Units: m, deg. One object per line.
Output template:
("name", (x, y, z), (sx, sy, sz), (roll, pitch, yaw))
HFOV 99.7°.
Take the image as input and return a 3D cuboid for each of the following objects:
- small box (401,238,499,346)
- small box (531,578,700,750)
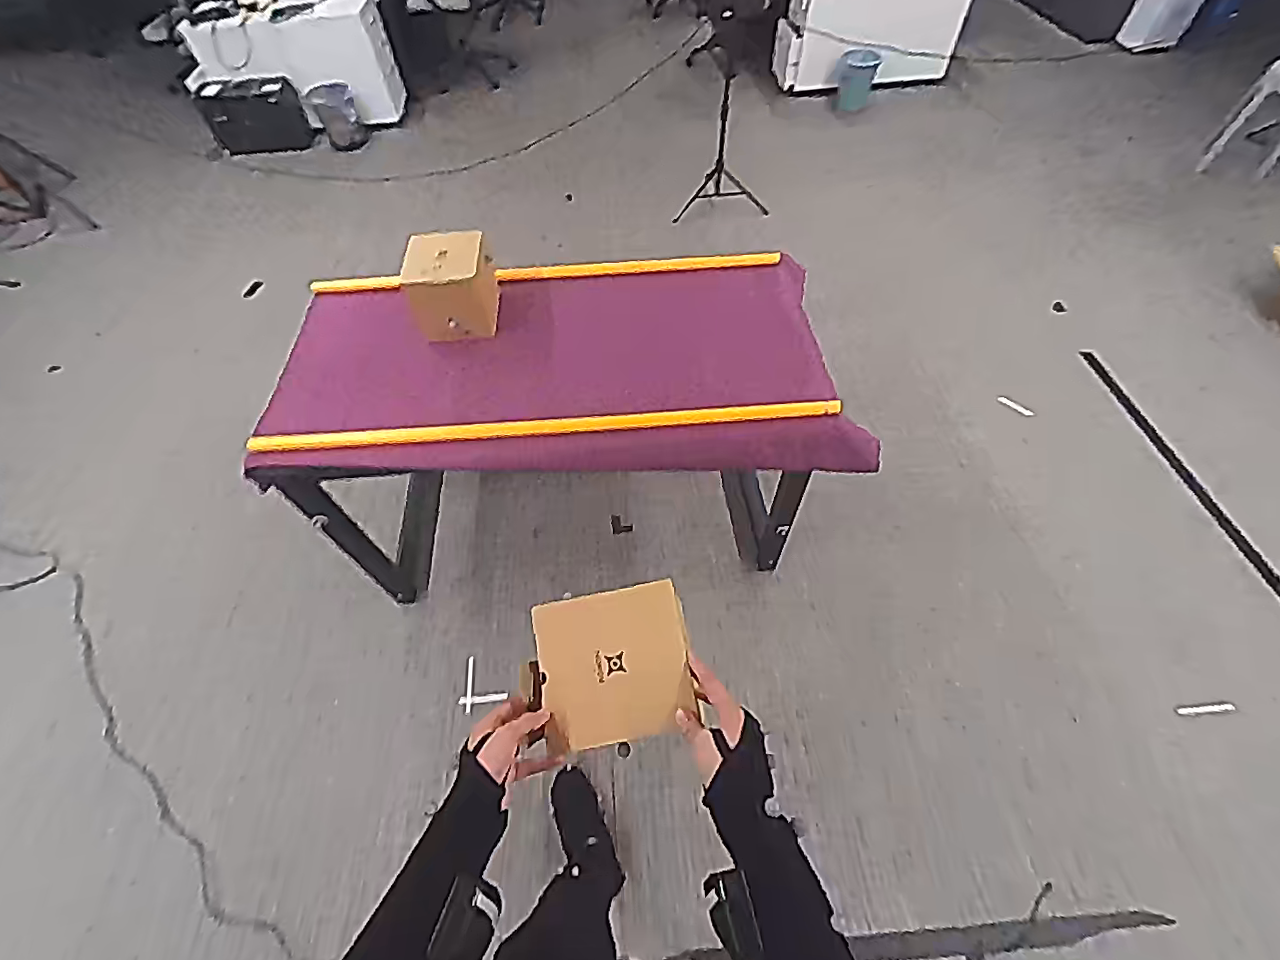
("small box", (-0.434, -0.438, 1.267), (0.168, 0.176, 0.179), (-4, 57, 0))
("small box", (-0.022, 0.234, 0.694), (0.179, 0.176, 0.168), (-14, 68, 5))
